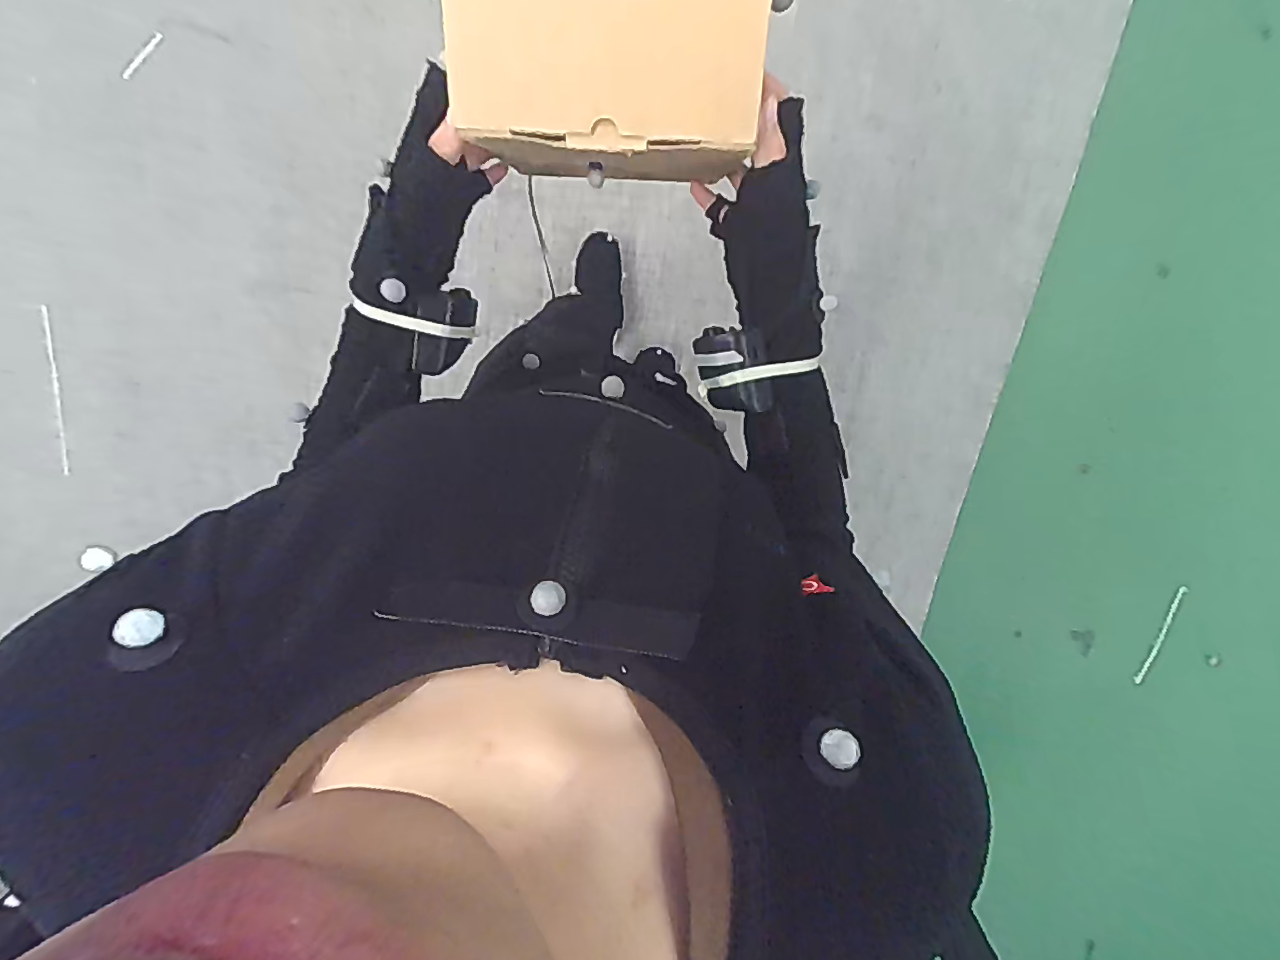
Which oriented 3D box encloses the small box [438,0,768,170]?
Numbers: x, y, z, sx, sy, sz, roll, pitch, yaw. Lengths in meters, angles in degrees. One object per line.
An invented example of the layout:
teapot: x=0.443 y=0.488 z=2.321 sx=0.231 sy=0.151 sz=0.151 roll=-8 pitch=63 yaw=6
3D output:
small box: x=-0.016 y=-0.300 z=0.325 sx=0.168 sy=0.176 sz=0.179 roll=2 pitch=114 yaw=0
